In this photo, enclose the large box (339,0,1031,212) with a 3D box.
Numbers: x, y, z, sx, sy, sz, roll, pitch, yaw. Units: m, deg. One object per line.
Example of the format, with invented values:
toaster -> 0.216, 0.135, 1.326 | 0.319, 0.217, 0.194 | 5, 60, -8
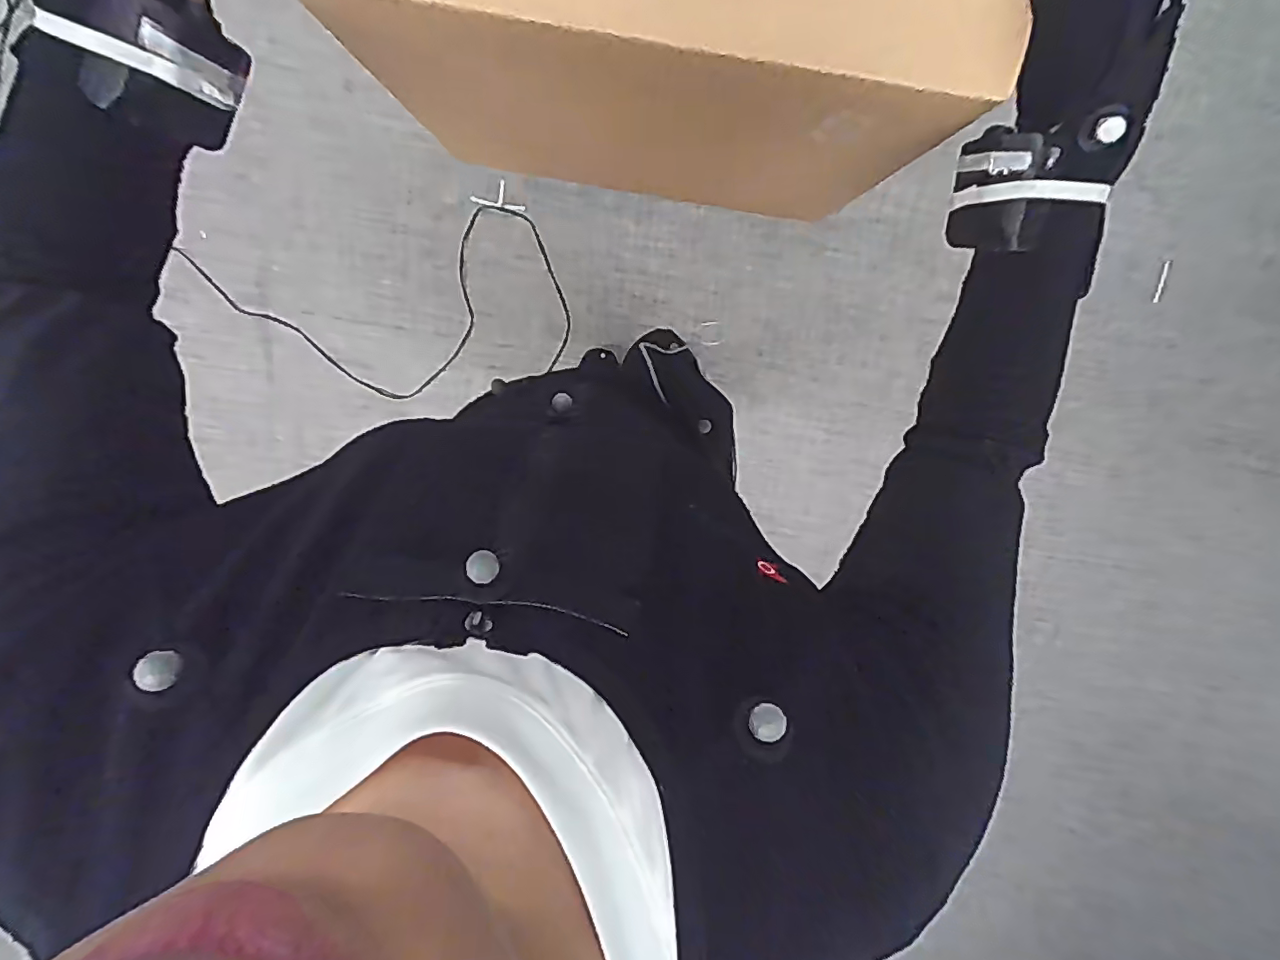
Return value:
large box -> 0.030, -0.429, 0.411 | 0.408, 0.320, 0.320 | 7, 104, -4
